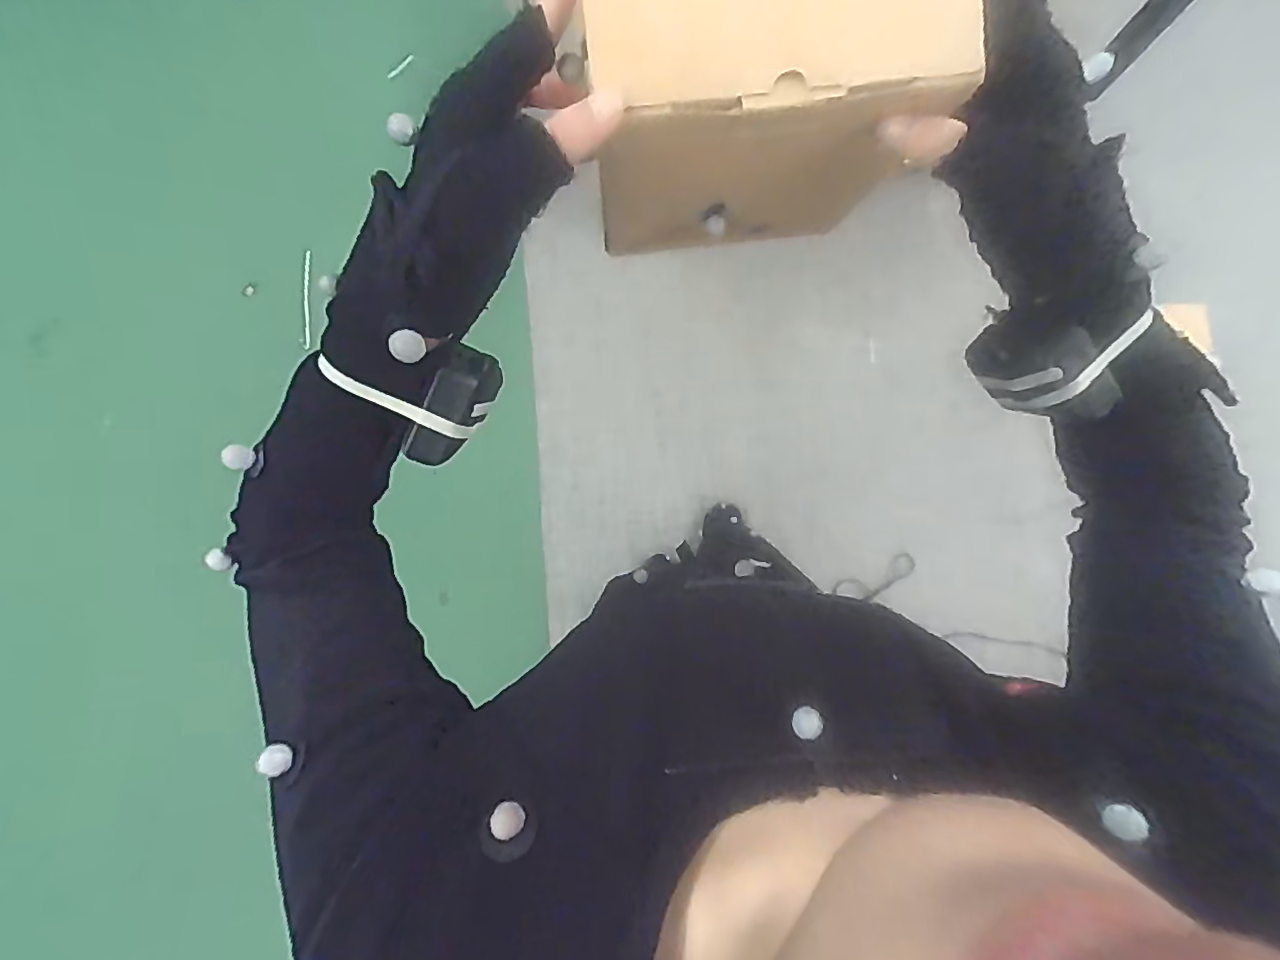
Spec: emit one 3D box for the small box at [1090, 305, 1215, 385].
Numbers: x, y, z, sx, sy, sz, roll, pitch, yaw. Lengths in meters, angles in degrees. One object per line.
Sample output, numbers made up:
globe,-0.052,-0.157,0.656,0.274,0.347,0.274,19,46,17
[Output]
small box,1.394,-0.365,1.480,0.179,0.176,0.168,-1,81,1
